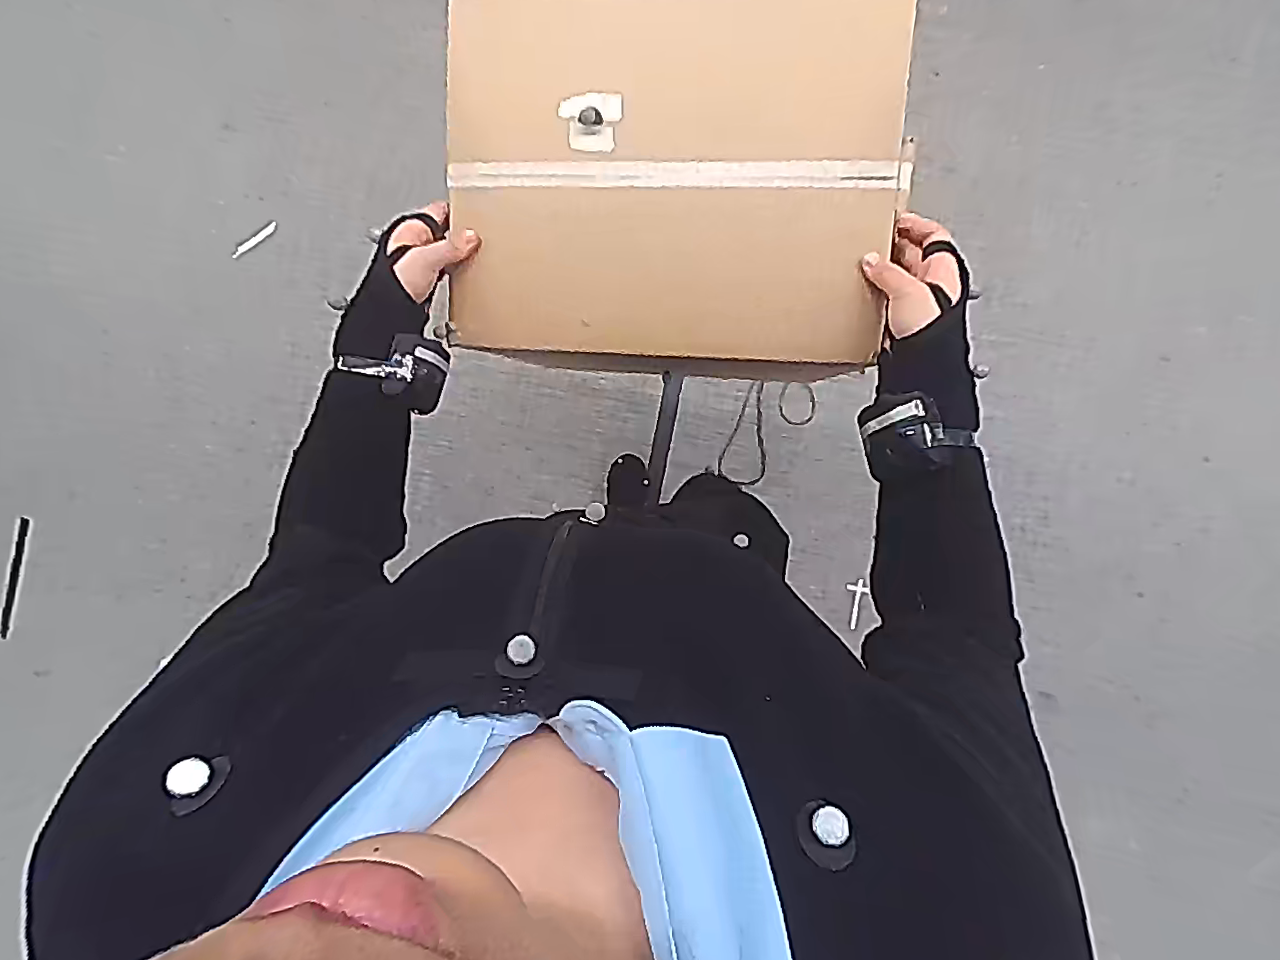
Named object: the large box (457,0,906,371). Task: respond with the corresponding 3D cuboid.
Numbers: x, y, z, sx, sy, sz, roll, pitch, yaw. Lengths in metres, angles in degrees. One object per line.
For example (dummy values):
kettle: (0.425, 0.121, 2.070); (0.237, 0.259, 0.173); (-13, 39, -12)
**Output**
large box: (0.045, -0.296, 0.640); (0.408, 0.320, 0.320); (4, 97, 8)
